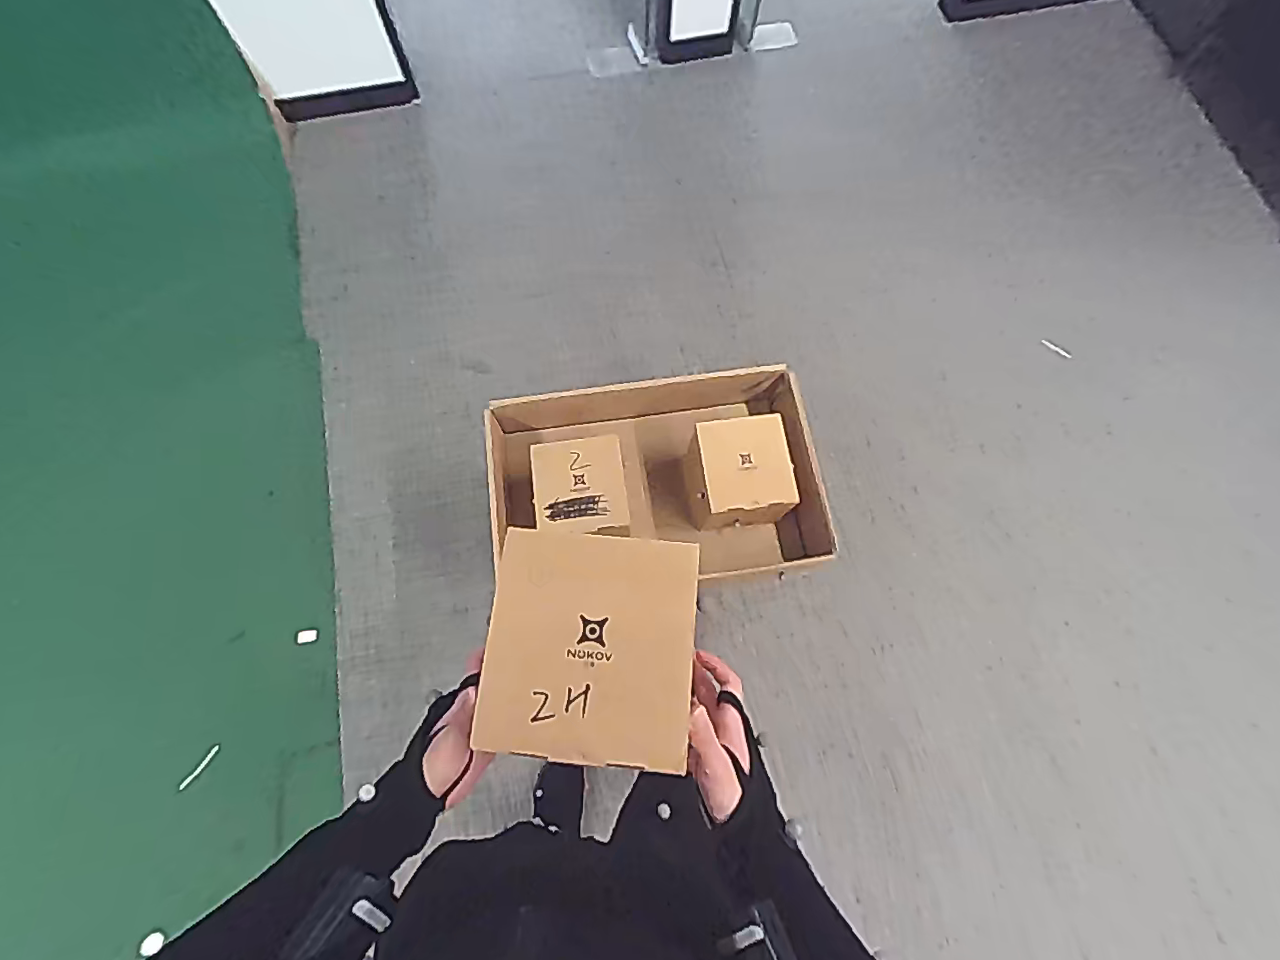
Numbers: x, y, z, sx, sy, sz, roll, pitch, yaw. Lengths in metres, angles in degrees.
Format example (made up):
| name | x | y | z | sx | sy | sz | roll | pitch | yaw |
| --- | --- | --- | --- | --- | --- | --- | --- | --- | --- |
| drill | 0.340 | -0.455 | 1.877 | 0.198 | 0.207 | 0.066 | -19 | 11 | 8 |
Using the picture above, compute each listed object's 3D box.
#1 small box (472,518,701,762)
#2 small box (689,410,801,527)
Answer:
| name | x | y | z | sx | sy | sz | roll | pitch | yaw |
| --- | --- | --- | --- | --- | --- | --- | --- | --- | --- |
| small box | -0.036 | 0.146 | 0.505 | 0.168 | 0.176 | 0.179 | 4 | 71 | 4 |
| small box | 0.195 | -0.017 | 1.061 | 0.168 | 0.176 | 0.179 | -8 | 74 | -3 |
